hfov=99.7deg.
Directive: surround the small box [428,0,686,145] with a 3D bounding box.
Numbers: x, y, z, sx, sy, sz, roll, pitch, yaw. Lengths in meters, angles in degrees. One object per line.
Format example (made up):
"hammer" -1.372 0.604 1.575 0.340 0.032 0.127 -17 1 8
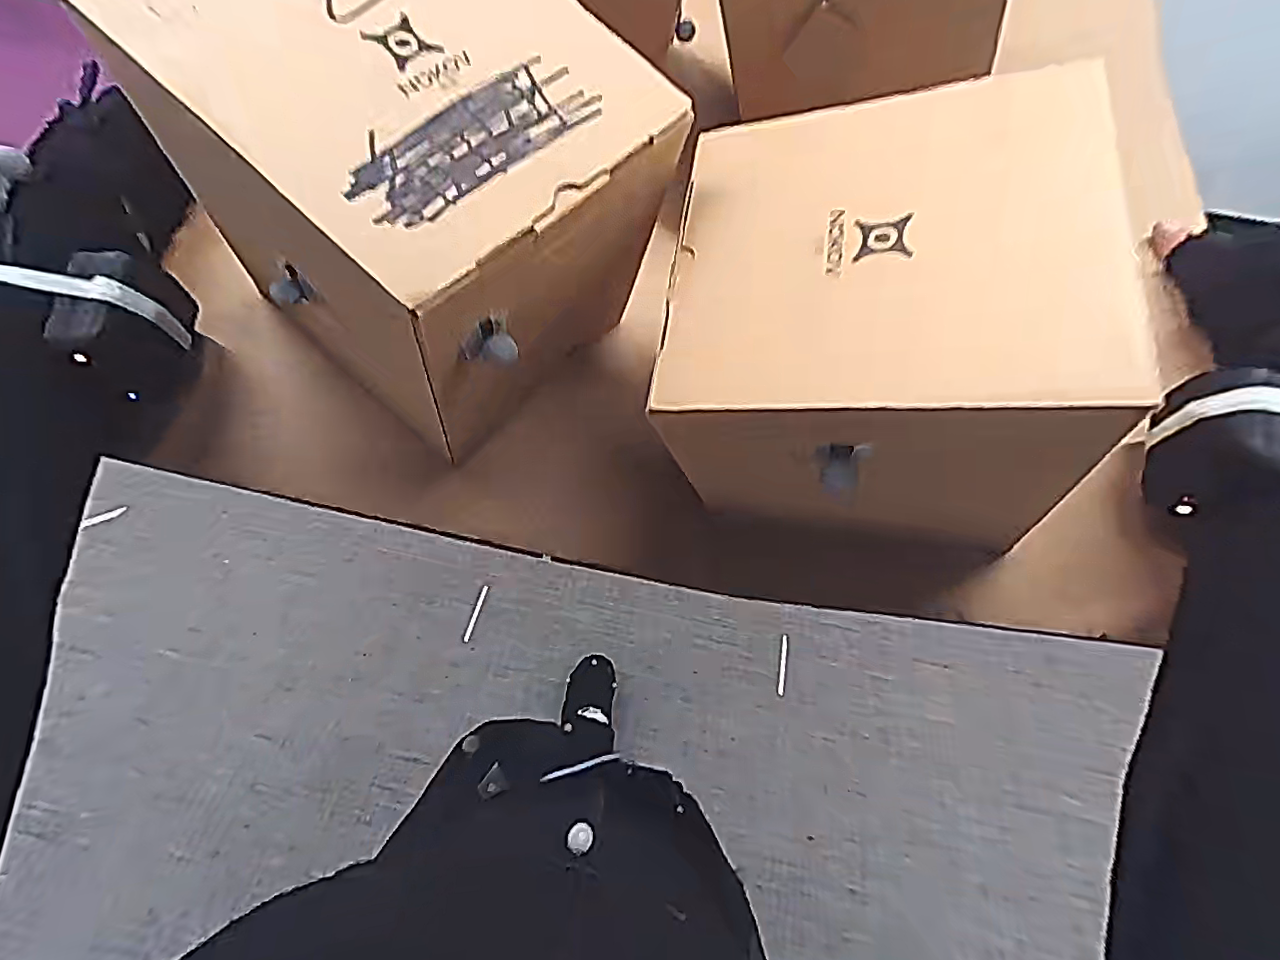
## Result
"small box" -0.048 -0.390 0.393 0.179 0.176 0.168 16 70 -9
